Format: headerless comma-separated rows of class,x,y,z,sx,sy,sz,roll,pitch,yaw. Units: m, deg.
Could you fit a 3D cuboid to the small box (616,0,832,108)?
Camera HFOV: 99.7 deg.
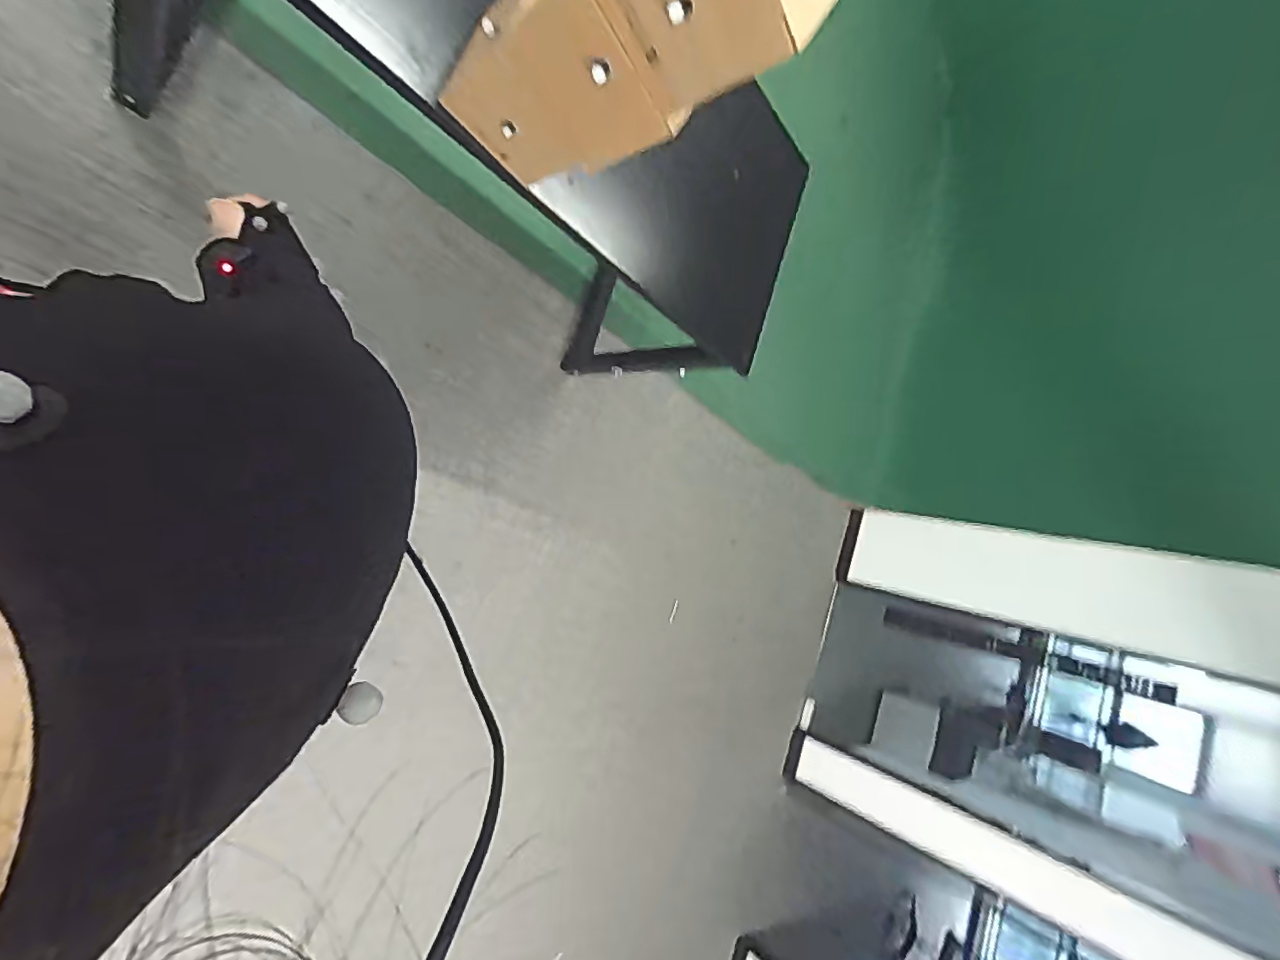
small box,0.084,-0.519,0.535,0.168,0.176,0.179,45,67,-38

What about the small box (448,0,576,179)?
small box,-0.144,-0.567,0.763,0.168,0.176,0.179,33,74,-43

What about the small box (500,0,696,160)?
small box,-0.030,-0.523,0.653,0.179,0.176,0.168,42,68,-39
